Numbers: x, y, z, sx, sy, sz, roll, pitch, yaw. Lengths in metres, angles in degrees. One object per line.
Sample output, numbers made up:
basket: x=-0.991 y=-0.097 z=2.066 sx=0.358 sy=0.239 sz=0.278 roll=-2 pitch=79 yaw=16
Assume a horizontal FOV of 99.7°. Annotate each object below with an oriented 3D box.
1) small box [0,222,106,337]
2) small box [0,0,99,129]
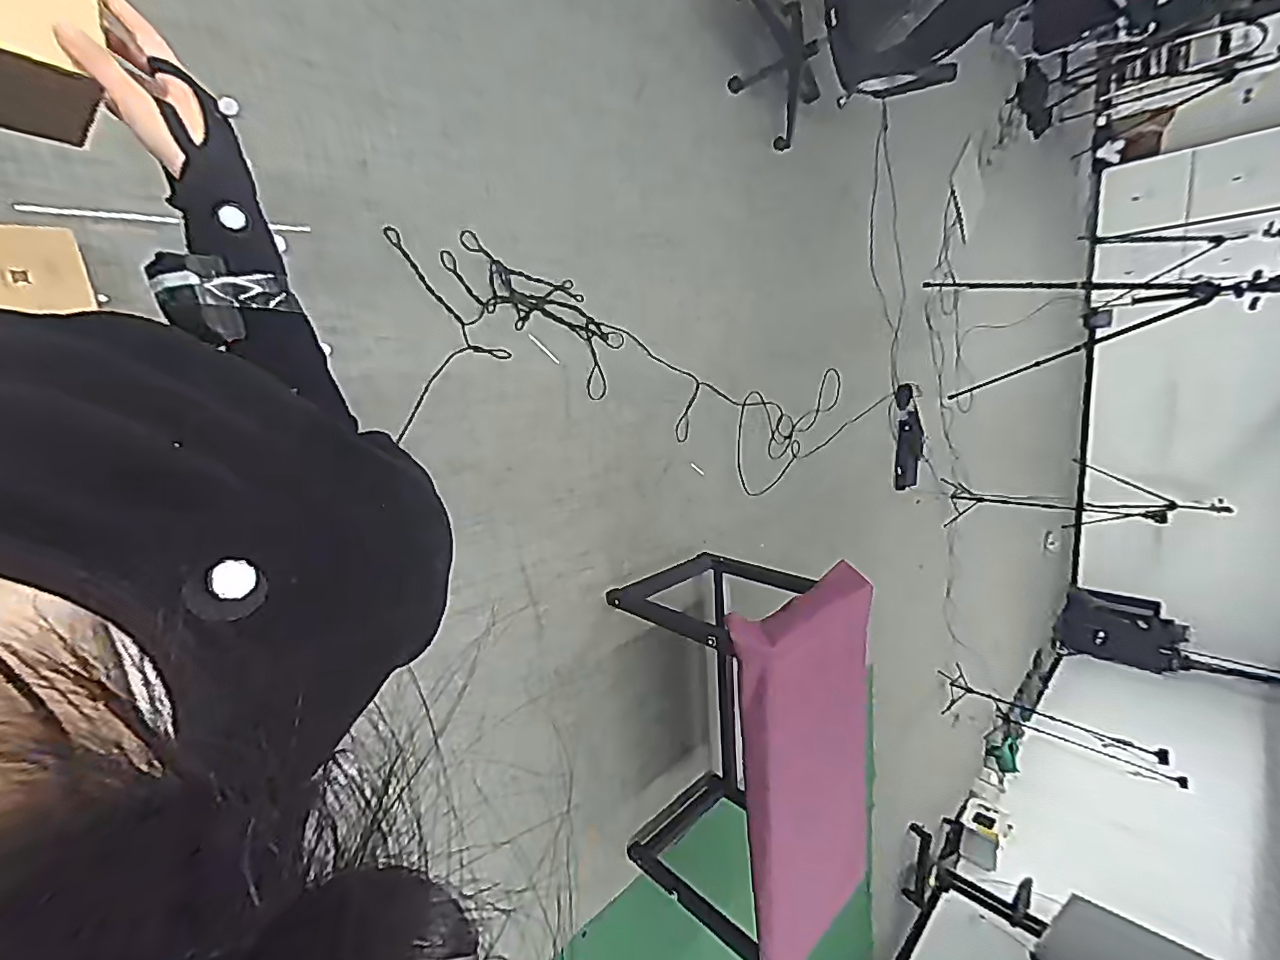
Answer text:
small box: x=-1.082 y=-0.345 z=0.948 sx=0.179 sy=0.176 sz=0.168 roll=-17 pitch=107 yaw=-40
small box: x=-0.466 y=-0.347 z=0.328 sx=0.179 sy=0.176 sz=0.168 roll=-8 pitch=105 yaw=-49
